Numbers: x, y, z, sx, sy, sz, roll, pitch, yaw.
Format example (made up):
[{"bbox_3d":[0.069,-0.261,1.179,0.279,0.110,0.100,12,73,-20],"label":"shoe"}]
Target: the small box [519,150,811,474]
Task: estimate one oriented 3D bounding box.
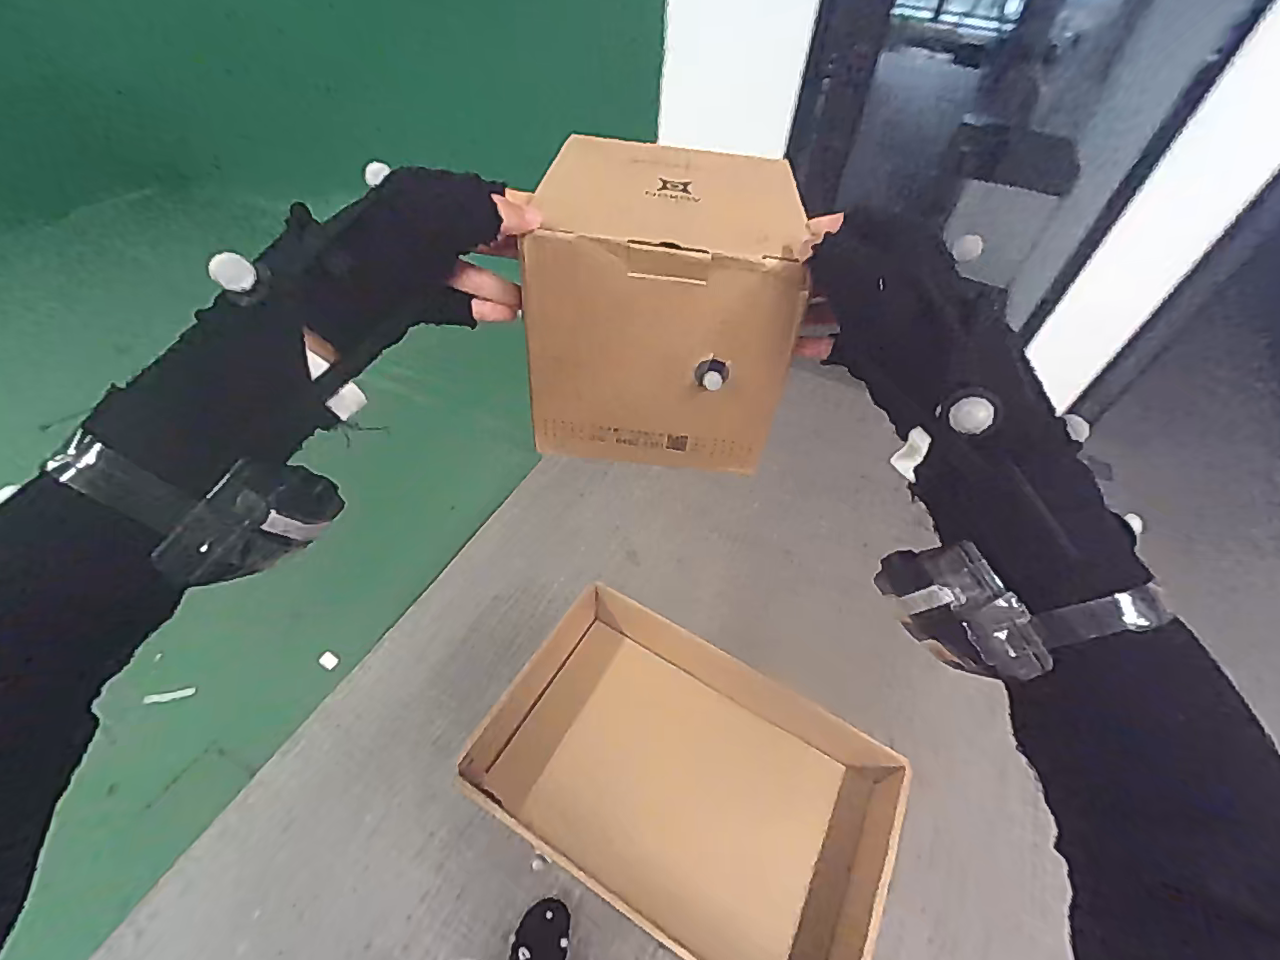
[{"bbox_3d":[0.014,-0.124,0.409,0.168,0.176,0.179,6,45,-1],"label":"small box"}]
